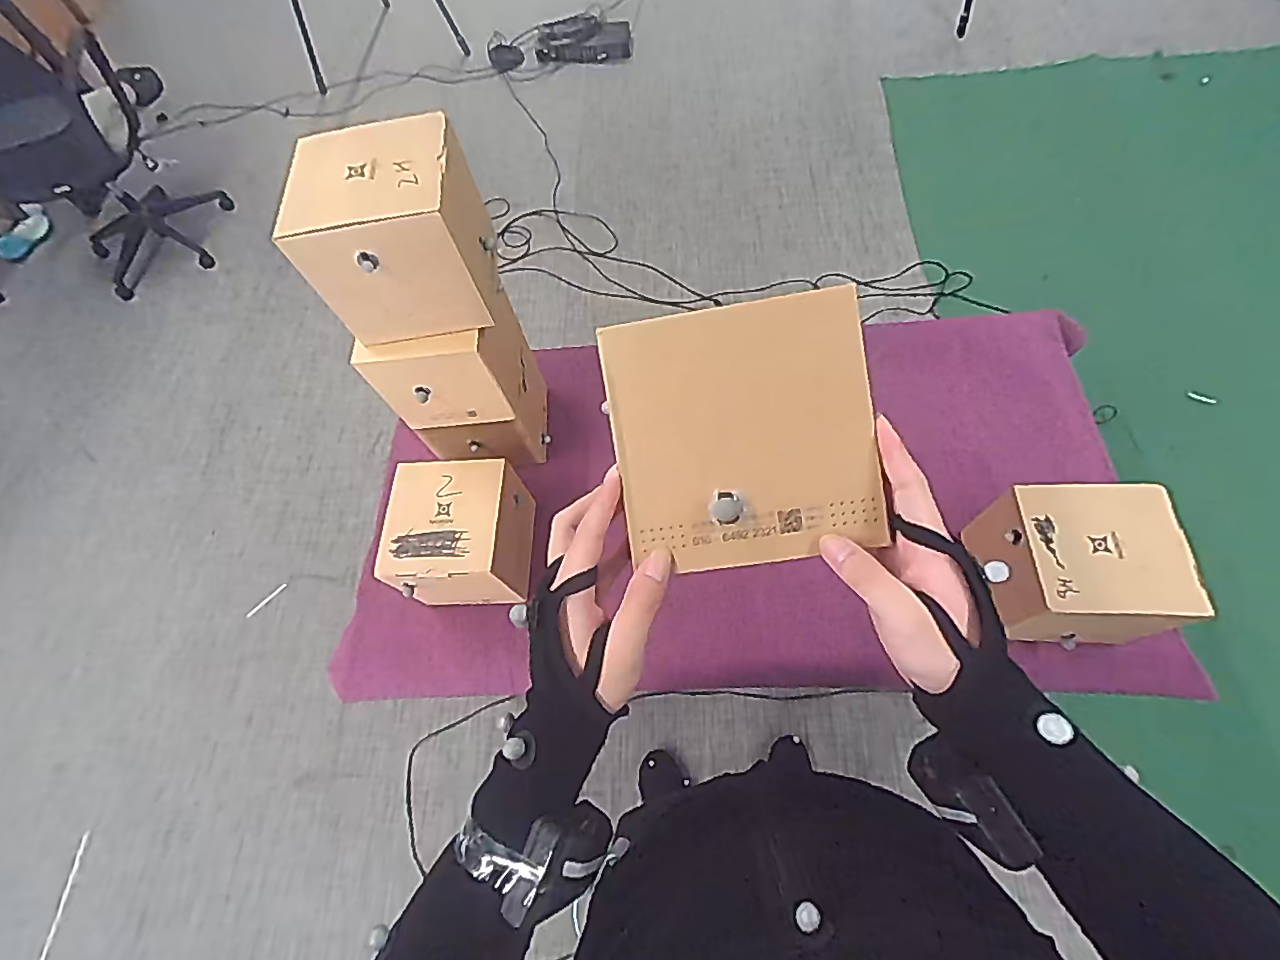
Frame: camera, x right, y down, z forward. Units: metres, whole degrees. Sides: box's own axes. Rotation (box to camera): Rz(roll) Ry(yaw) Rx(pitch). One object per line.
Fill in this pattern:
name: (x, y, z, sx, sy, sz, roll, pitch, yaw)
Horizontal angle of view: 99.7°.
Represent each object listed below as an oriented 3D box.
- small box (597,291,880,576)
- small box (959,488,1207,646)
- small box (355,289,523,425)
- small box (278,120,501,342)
small box: (0.070, -0.028, 0.427, 0.168, 0.179, 0.176, -9, 92, 5)
small box: (0.565, 0.121, 0.722, 0.179, 0.176, 0.168, 0, 63, 7)
small box: (-0.275, -0.191, 0.784, 0.168, 0.176, 0.179, -5, 64, 4)
small box: (-0.280, -0.285, 0.647, 0.179, 0.176, 0.168, -8, 64, 2)
